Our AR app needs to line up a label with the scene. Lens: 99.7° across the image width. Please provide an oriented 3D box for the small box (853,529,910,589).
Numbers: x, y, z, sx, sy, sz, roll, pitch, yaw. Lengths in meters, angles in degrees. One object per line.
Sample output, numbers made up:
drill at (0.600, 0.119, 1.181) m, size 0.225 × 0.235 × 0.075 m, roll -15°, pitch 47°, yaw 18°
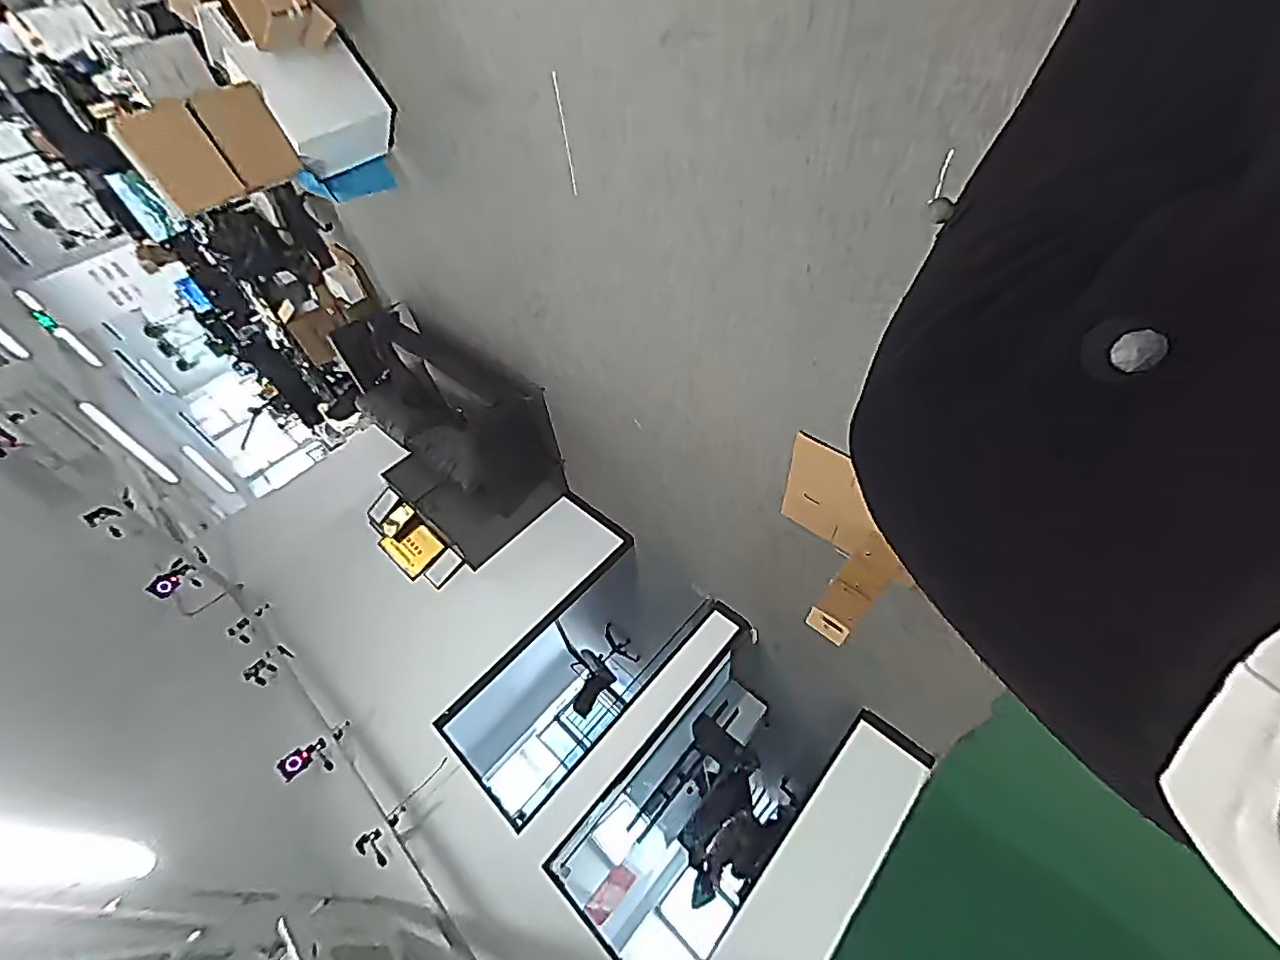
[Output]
small box at (1.058, 0.345, 2.404) m, size 0.179 × 0.176 × 0.168 m, roll 34°, pitch 153°, yaw 27°

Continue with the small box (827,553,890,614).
small box at (0.945, 0.440, 2.340) m, size 0.179 × 0.176 × 0.168 m, roll 34°, pitch 151°, yaw 27°
